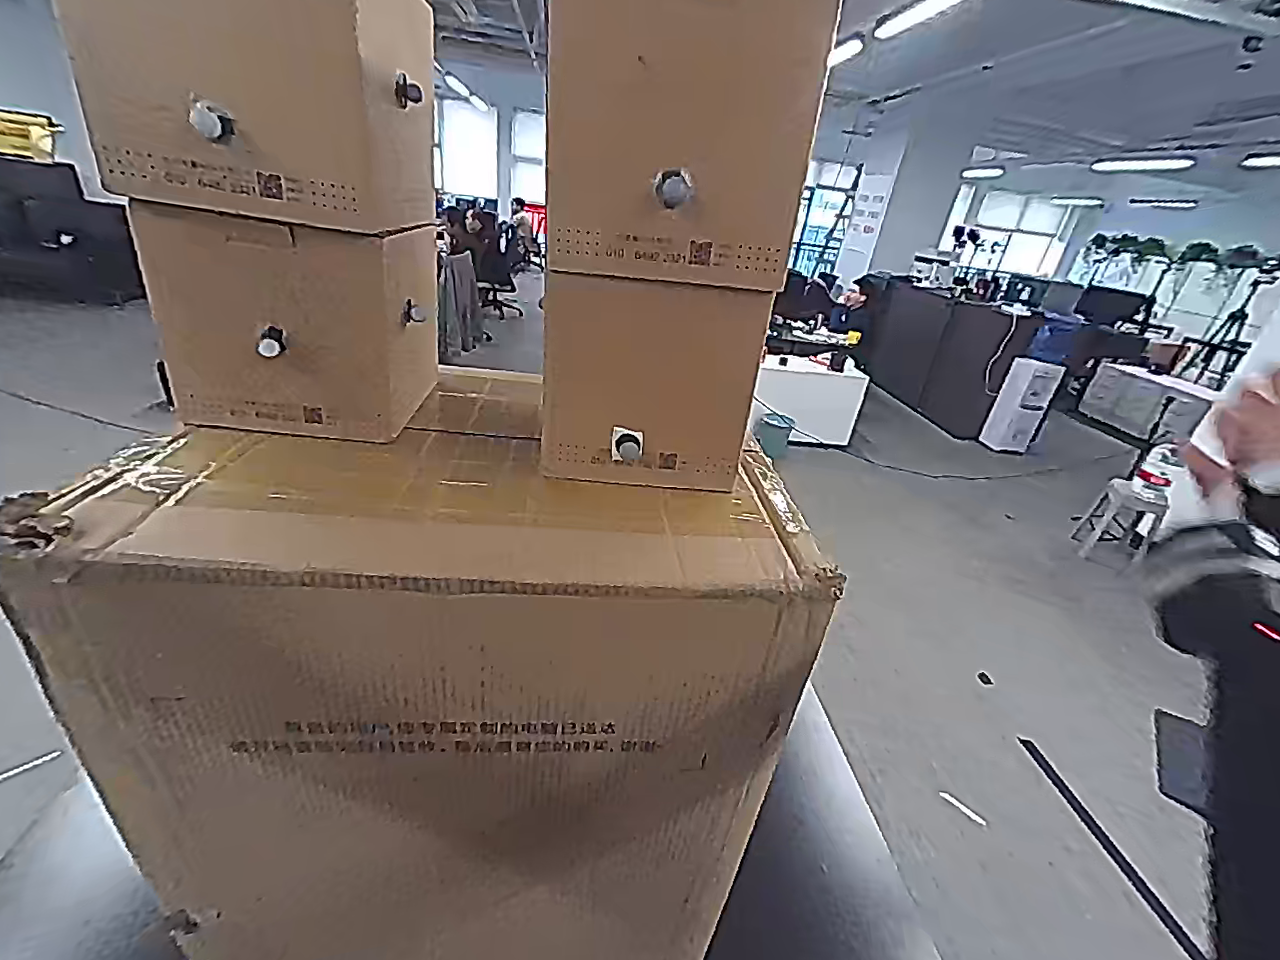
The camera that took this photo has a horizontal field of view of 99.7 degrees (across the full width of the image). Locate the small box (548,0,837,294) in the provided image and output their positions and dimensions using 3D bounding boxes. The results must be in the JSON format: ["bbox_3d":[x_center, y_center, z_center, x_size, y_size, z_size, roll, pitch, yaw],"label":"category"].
[{"bbox_3d":[0.023,-0.248,0.410,0.168,0.176,0.179,4,28,-3],"label":"small box"}]

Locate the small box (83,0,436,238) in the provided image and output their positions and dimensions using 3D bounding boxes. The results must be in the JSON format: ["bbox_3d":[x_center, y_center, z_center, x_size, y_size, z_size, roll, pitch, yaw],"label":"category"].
[{"bbox_3d":[-0.258,-0.286,0.401,0.168,0.176,0.179,5,28,-8],"label":"small box"}]

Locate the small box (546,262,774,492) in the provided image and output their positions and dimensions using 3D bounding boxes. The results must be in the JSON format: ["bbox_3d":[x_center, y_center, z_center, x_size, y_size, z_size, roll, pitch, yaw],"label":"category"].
[{"bbox_3d":[0.005,-0.106,0.493,0.168,0.176,0.179,3,29,-5],"label":"small box"}]

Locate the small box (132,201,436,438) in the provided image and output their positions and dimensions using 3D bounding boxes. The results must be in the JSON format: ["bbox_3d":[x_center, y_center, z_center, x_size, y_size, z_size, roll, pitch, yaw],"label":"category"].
[{"bbox_3d":[-0.286,-0.149,0.490,0.168,0.176,0.179,5,28,-9],"label":"small box"}]
